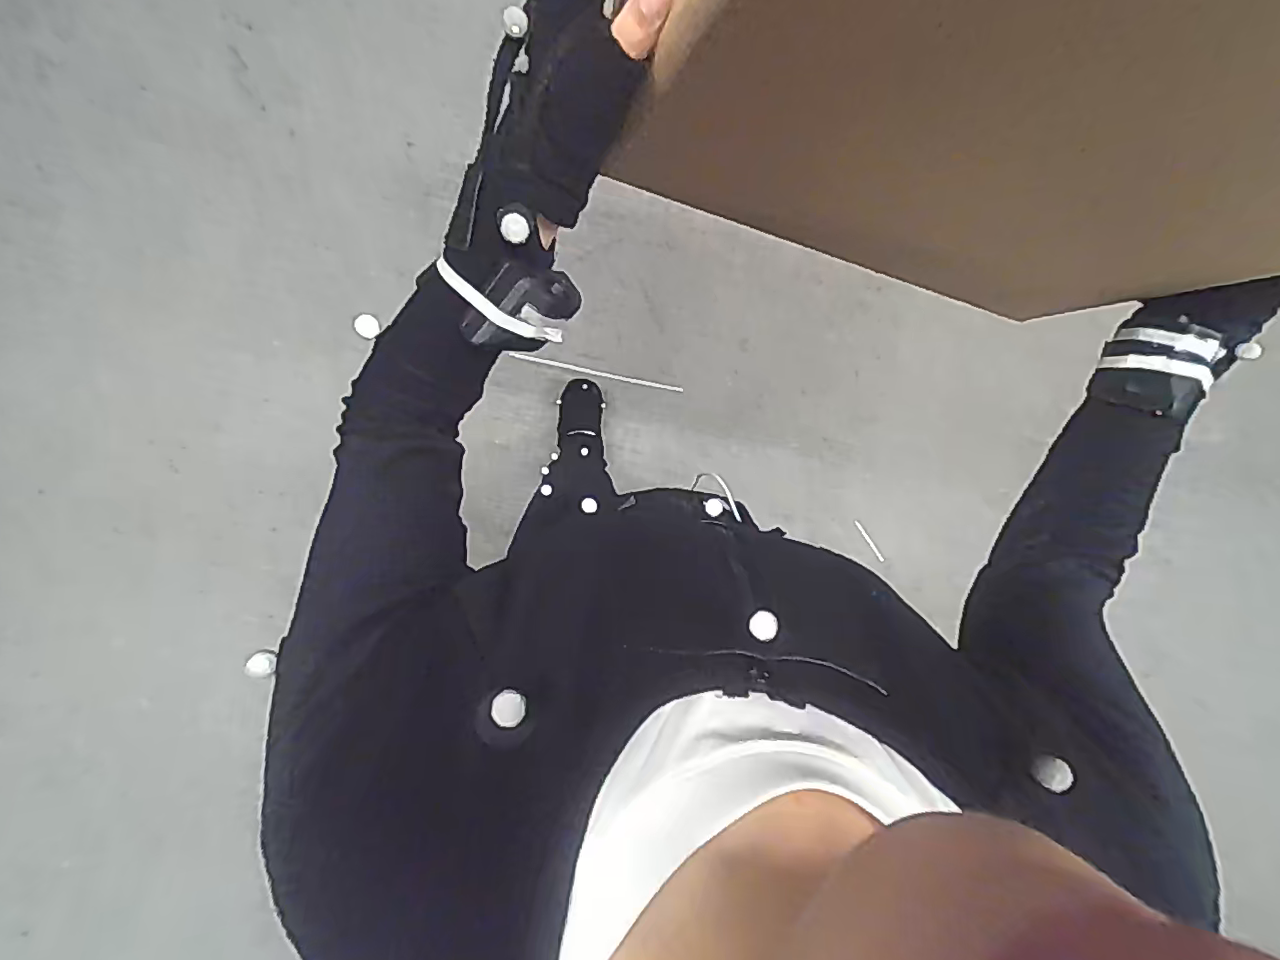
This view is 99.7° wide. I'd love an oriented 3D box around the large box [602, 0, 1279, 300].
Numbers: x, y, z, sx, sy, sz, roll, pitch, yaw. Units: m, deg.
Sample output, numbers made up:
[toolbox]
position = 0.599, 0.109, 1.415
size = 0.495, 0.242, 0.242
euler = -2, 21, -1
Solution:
[large box]
position = 0.227, -0.313, 0.262
size = 0.408, 0.320, 0.320
euler = 8, 94, -22
